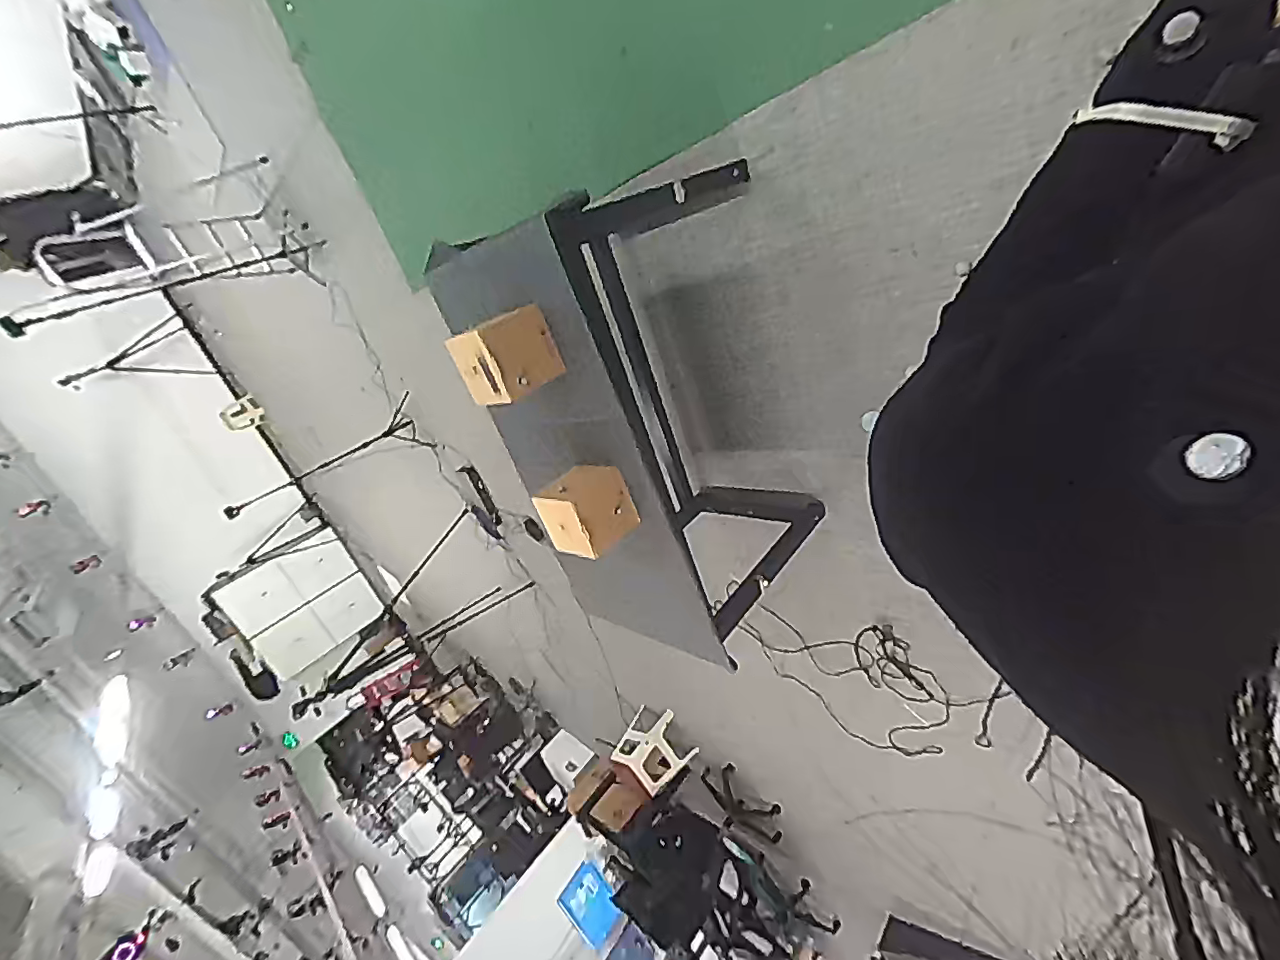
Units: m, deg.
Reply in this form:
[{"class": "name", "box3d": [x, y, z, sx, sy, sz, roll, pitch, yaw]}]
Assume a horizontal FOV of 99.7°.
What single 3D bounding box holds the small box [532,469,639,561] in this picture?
[{"class": "small box", "box3d": [-0.135, 0.082, 1.375, 0.179, 0.176, 0.168, 2, 122, 46]}]
